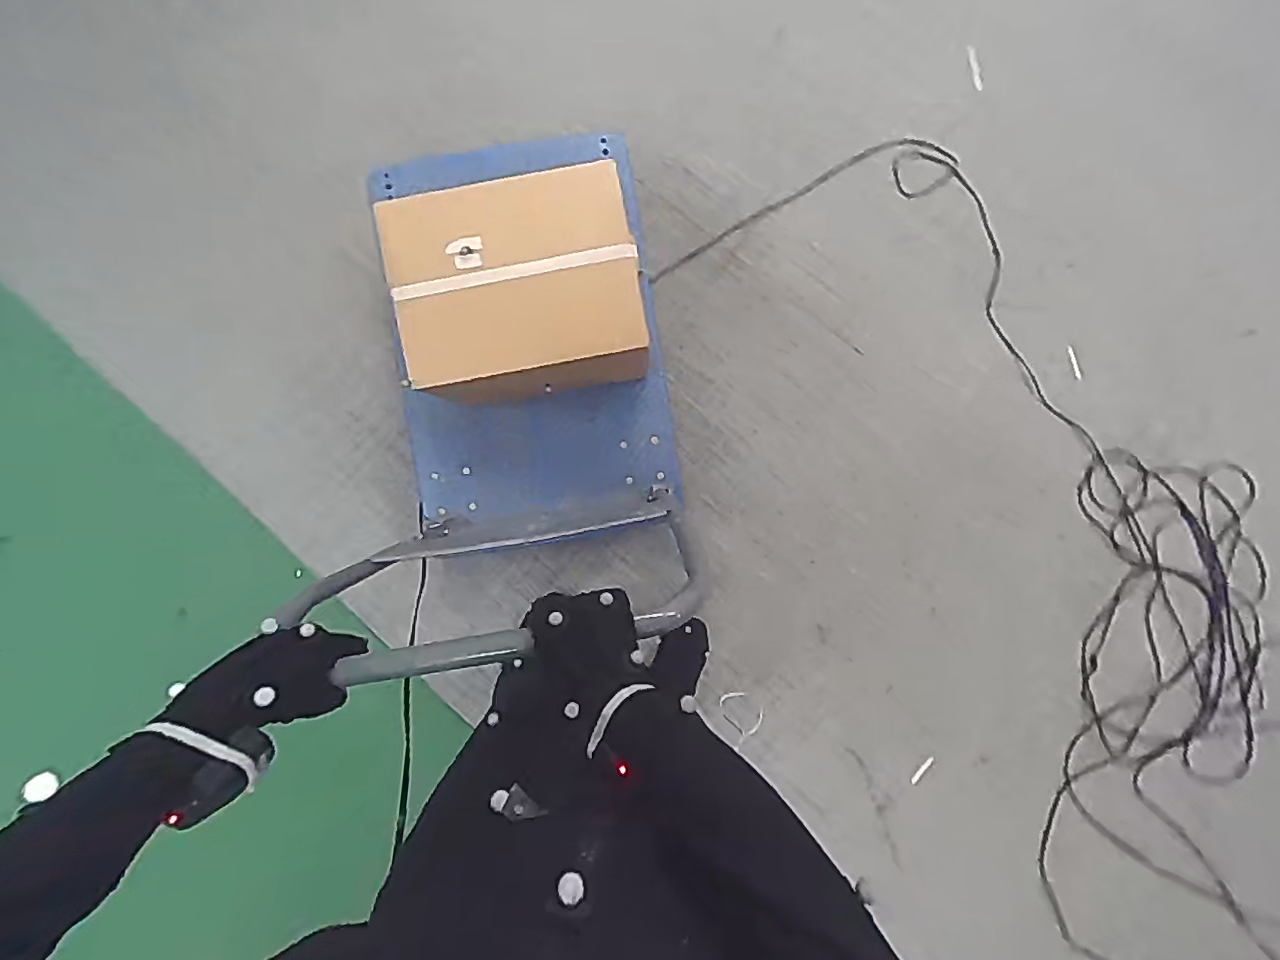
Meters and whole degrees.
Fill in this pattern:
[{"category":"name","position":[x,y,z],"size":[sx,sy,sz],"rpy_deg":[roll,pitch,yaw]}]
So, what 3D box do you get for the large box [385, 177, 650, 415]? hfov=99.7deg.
[{"category":"large box","position":[-0.206,-0.325,1.061],"size":[0.408,0.320,0.320],"rpy_deg":[-11,91,1]}]
